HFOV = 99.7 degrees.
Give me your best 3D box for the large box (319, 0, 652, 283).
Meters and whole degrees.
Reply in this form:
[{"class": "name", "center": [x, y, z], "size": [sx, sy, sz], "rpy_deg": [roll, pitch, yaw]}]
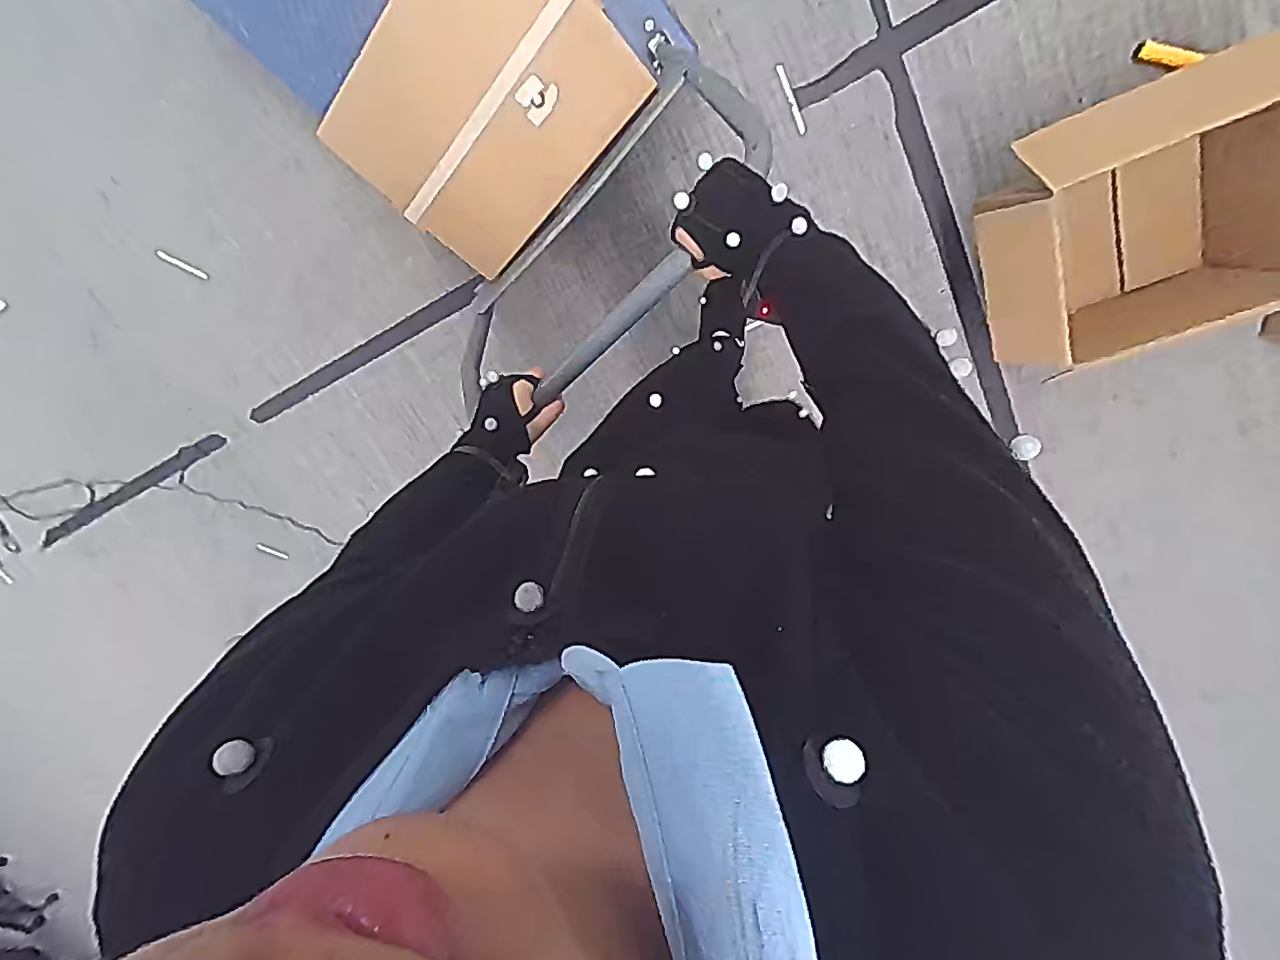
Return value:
[{"class": "large box", "center": [-0.234, -0.619, 0.886], "size": [0.408, 0.320, 0.320], "rpy_deg": [-39, 123, 25]}]
